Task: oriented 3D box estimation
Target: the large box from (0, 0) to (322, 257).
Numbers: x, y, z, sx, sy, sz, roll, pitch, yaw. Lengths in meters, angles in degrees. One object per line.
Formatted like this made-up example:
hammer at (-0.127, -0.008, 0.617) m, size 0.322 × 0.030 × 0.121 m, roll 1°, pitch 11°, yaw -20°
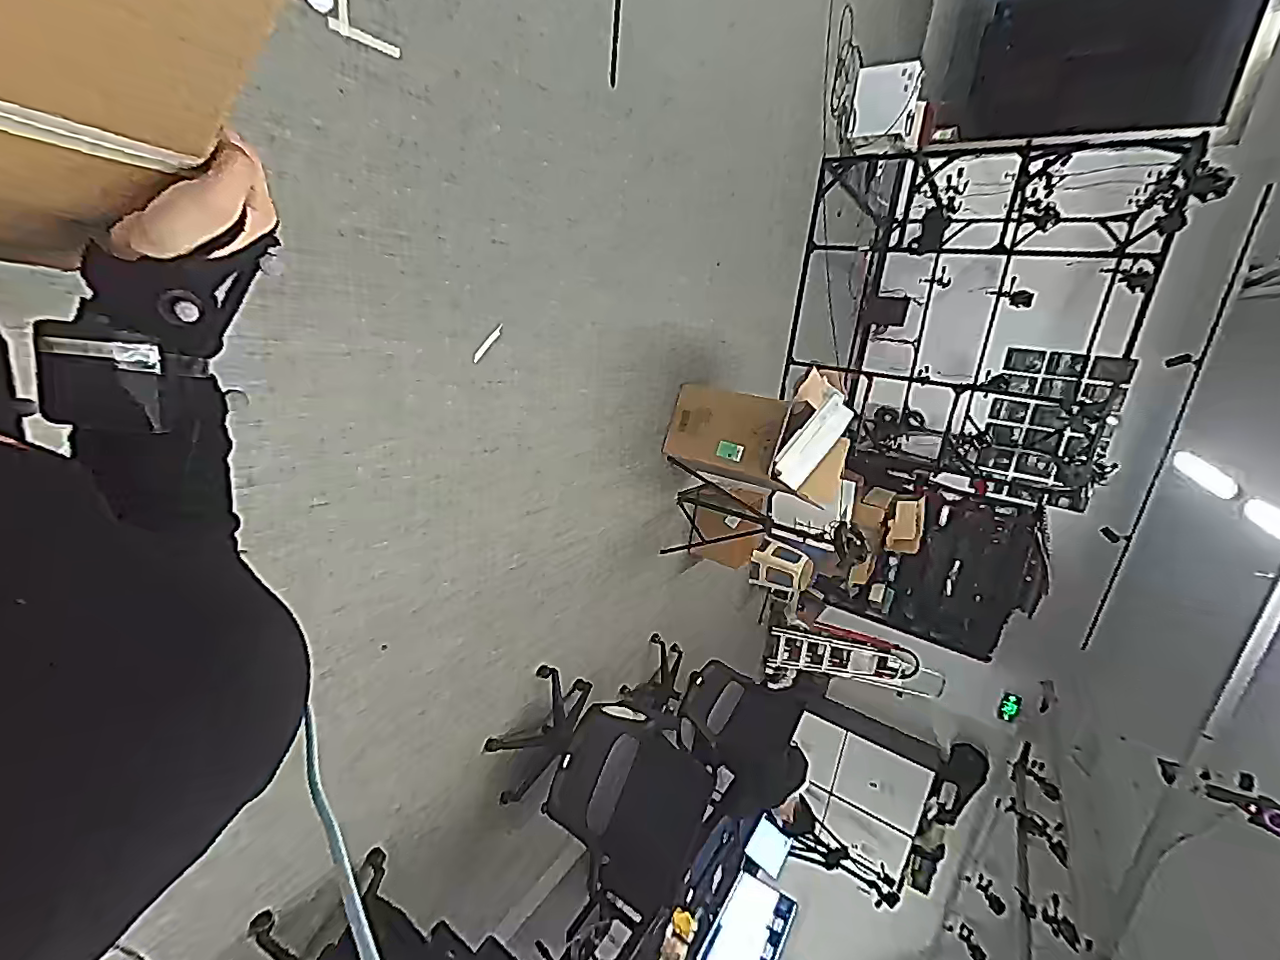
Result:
large box at (-0.382, -0.321, 0.161) m, size 0.408 × 0.320 × 0.320 m, roll -11°, pitch 87°, yaw -53°
